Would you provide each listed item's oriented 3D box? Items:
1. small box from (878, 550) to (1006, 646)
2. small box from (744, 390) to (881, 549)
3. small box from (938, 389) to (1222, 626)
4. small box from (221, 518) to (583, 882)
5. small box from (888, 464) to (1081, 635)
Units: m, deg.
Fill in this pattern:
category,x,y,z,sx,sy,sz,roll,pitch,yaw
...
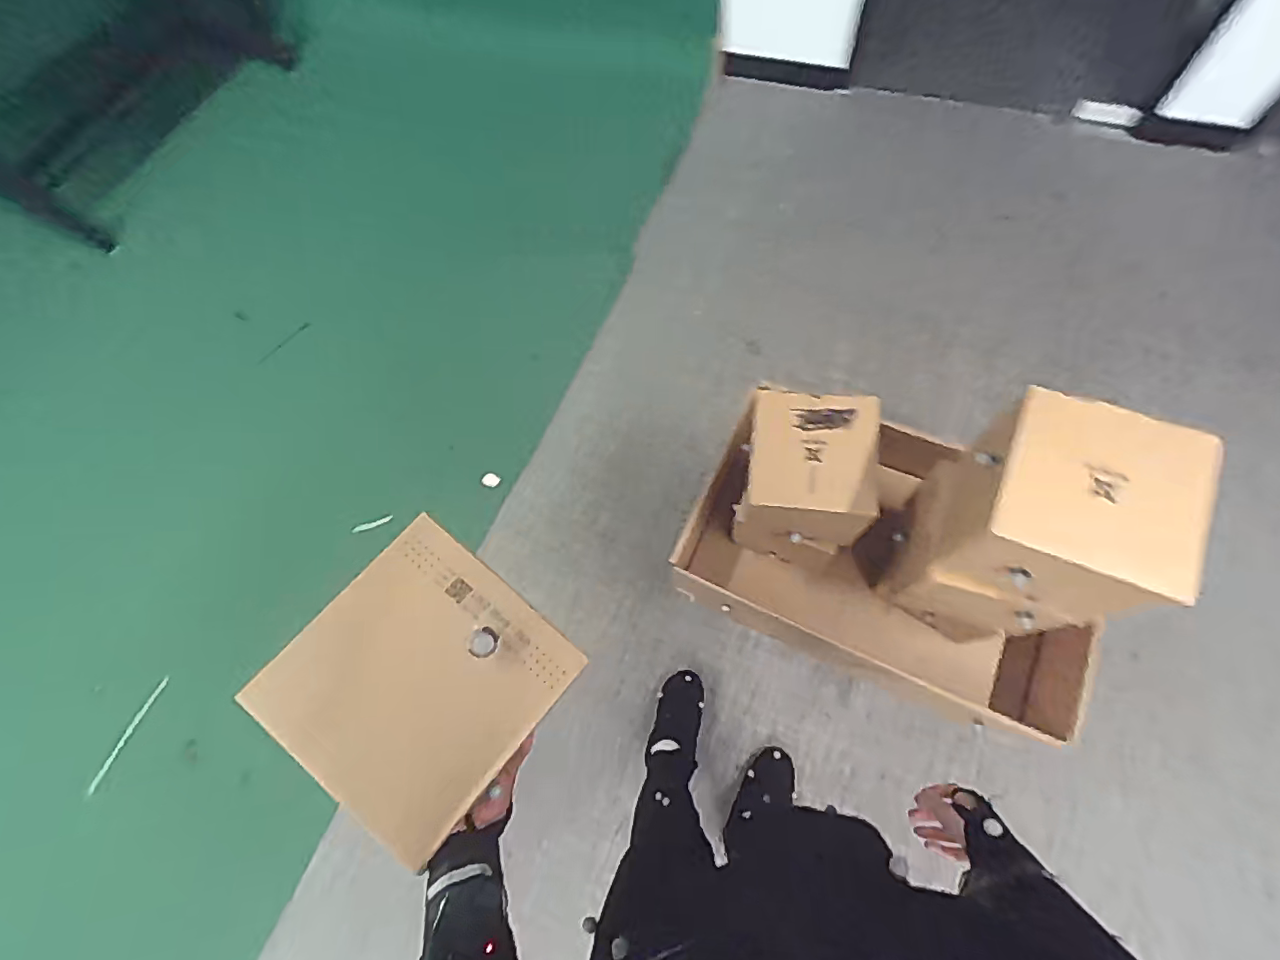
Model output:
category,x,y,z,sx,sy,sz,roll,pitch,yaw
small box,0.512,0.150,0.881,0.168,0.176,0.179,33,77,19
small box,0.247,-0.011,0.802,0.168,0.176,0.179,6,70,11
small box,0.448,0.039,0.580,0.168,0.176,0.179,22,72,17
small box,-0.160,0.156,0.434,0.168,0.179,0.176,39,72,6
small box,0.460,0.102,0.729,0.179,0.176,0.168,14,70,14
